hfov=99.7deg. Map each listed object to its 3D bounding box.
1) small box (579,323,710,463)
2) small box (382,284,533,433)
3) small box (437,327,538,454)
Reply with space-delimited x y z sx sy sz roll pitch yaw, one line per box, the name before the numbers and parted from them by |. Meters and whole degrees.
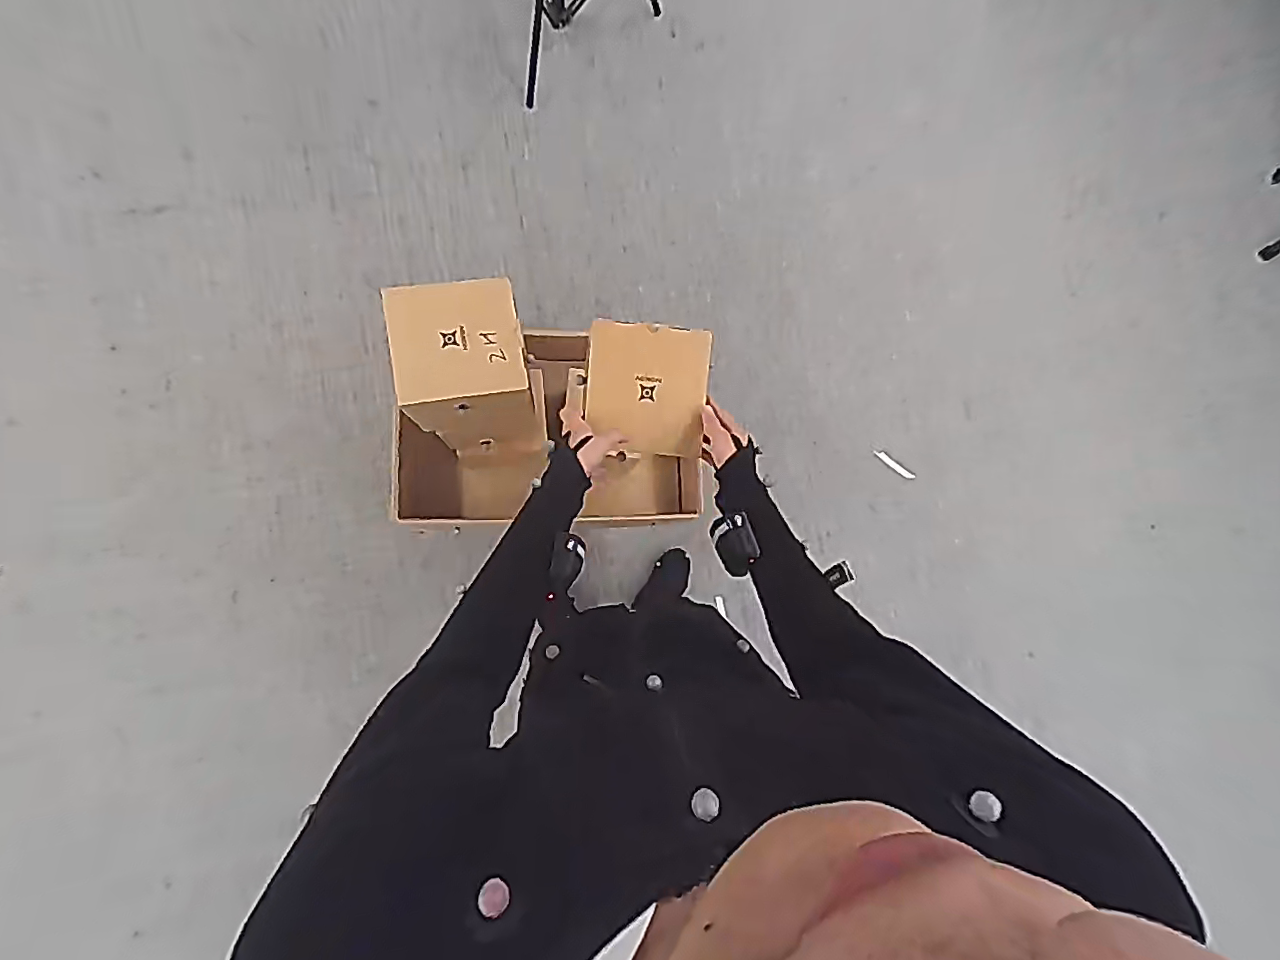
small box | -0.001 -0.119 0.805 0.168 0.176 0.179 4 92 -7
small box | -0.263 -0.173 0.814 0.179 0.176 0.168 -9 85 -10
small box | -0.280 -0.156 0.977 0.168 0.176 0.179 -10 84 -11
